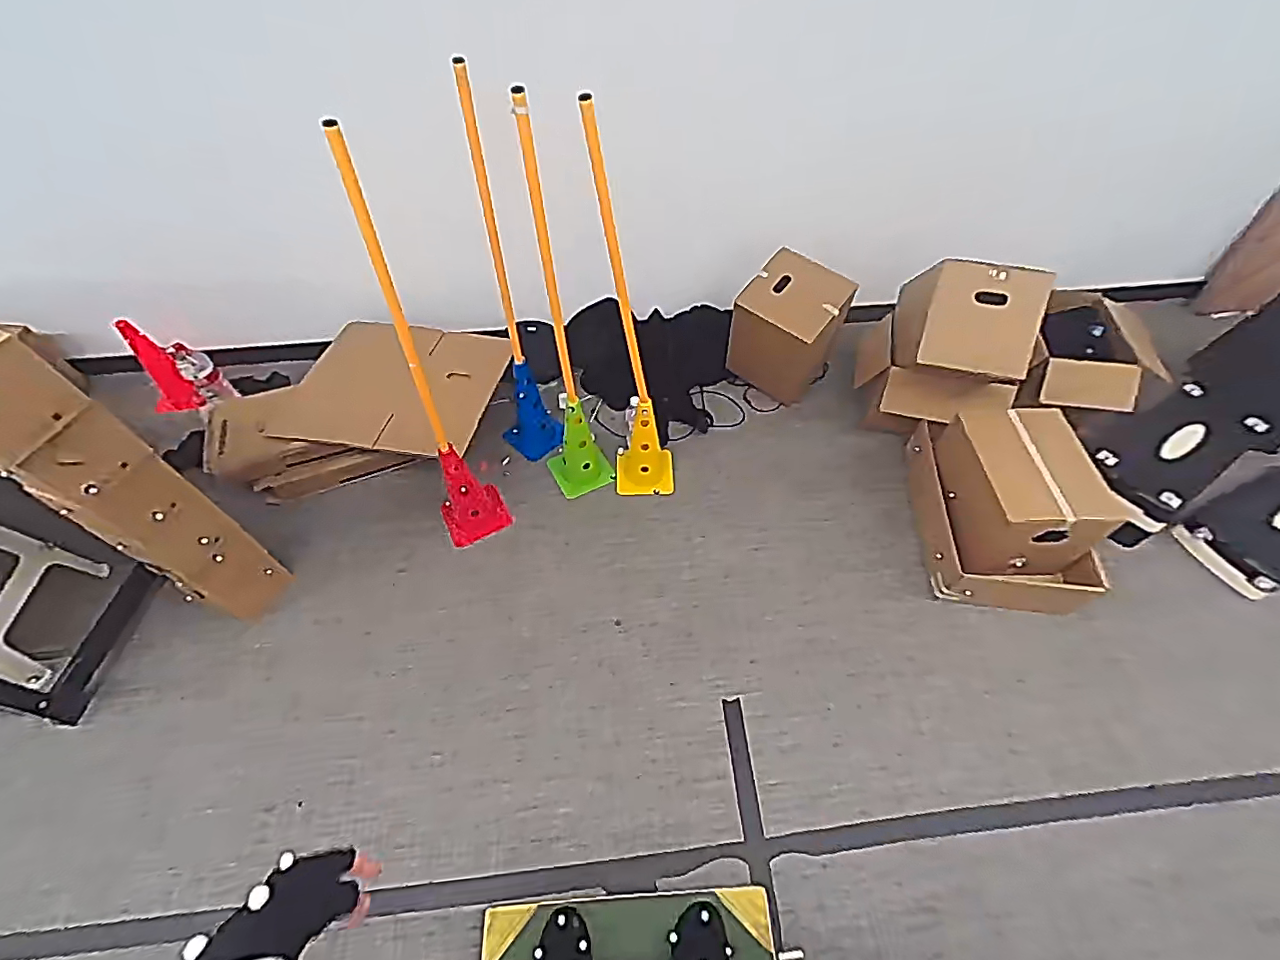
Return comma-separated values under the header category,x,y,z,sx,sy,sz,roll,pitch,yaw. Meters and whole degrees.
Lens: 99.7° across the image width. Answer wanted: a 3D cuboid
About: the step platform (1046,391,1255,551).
category,x,y,z,sx,sy,sz,roll,pitch,yaw
step platform,1.748,-0.047,1.853,0.684,0.204,0.286,-29,58,-19
